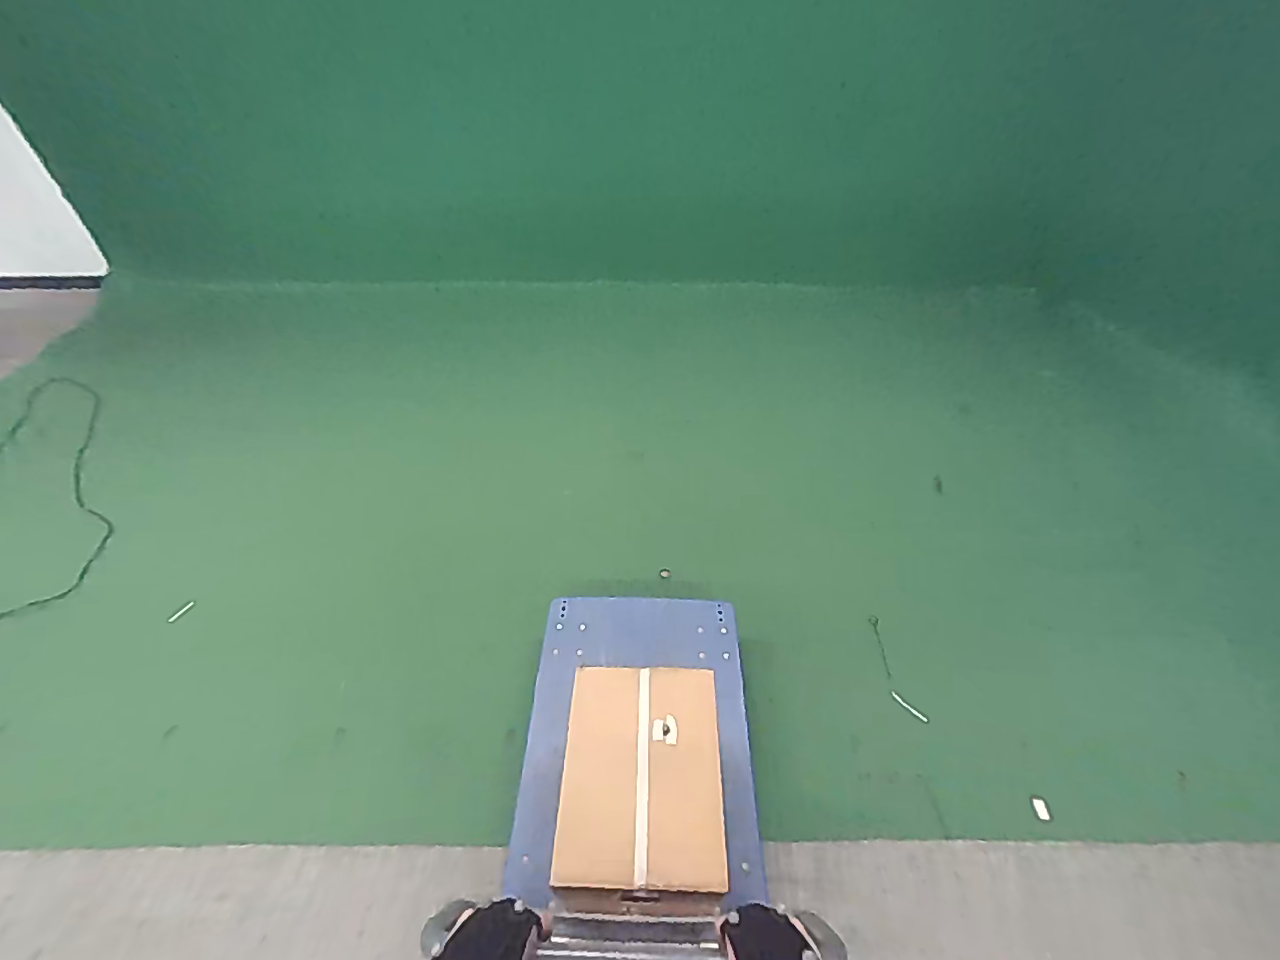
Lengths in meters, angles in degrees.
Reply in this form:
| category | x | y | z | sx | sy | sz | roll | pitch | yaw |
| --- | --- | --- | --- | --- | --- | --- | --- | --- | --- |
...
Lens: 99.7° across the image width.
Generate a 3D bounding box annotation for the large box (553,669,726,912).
| category | x | y | z | sx | sy | sz | roll | pitch | yaw |
| --- | --- | --- | --- | --- | --- | --- | --- | --- | --- |
| large box | 0.003 | 0.677 | 1.188 | 0.320 | 0.320 | 0.408 | 1 | 45 | 1 |
